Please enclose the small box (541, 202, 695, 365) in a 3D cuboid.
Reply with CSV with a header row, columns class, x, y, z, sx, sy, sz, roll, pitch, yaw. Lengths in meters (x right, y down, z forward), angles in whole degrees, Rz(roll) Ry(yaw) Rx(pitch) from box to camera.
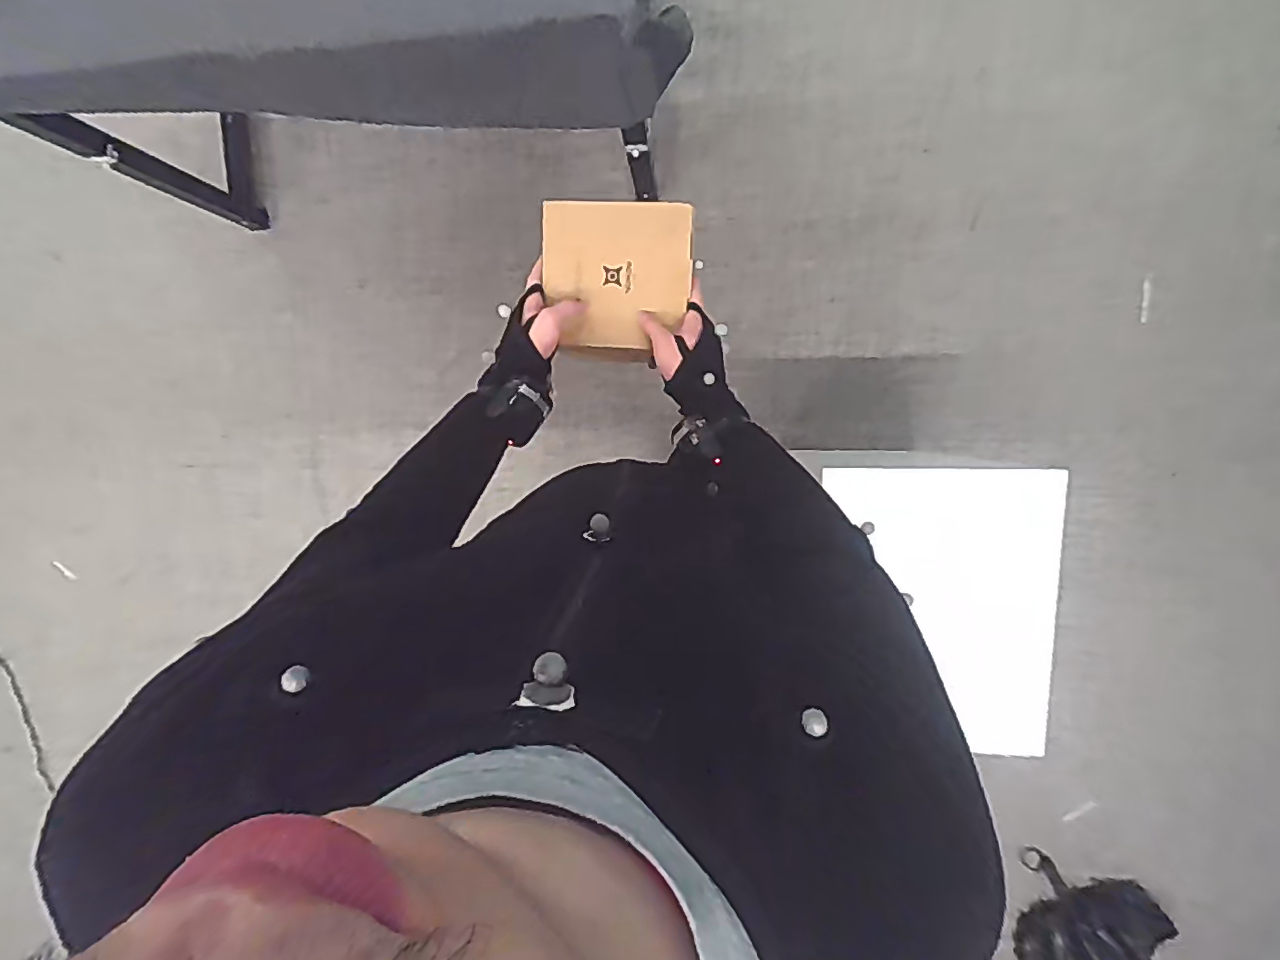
class,x,y,z,sx,sy,sz,roll,pitch,yaw
small box,-0.021,-0.242,0.699,0.179,0.176,0.168,2,96,5
